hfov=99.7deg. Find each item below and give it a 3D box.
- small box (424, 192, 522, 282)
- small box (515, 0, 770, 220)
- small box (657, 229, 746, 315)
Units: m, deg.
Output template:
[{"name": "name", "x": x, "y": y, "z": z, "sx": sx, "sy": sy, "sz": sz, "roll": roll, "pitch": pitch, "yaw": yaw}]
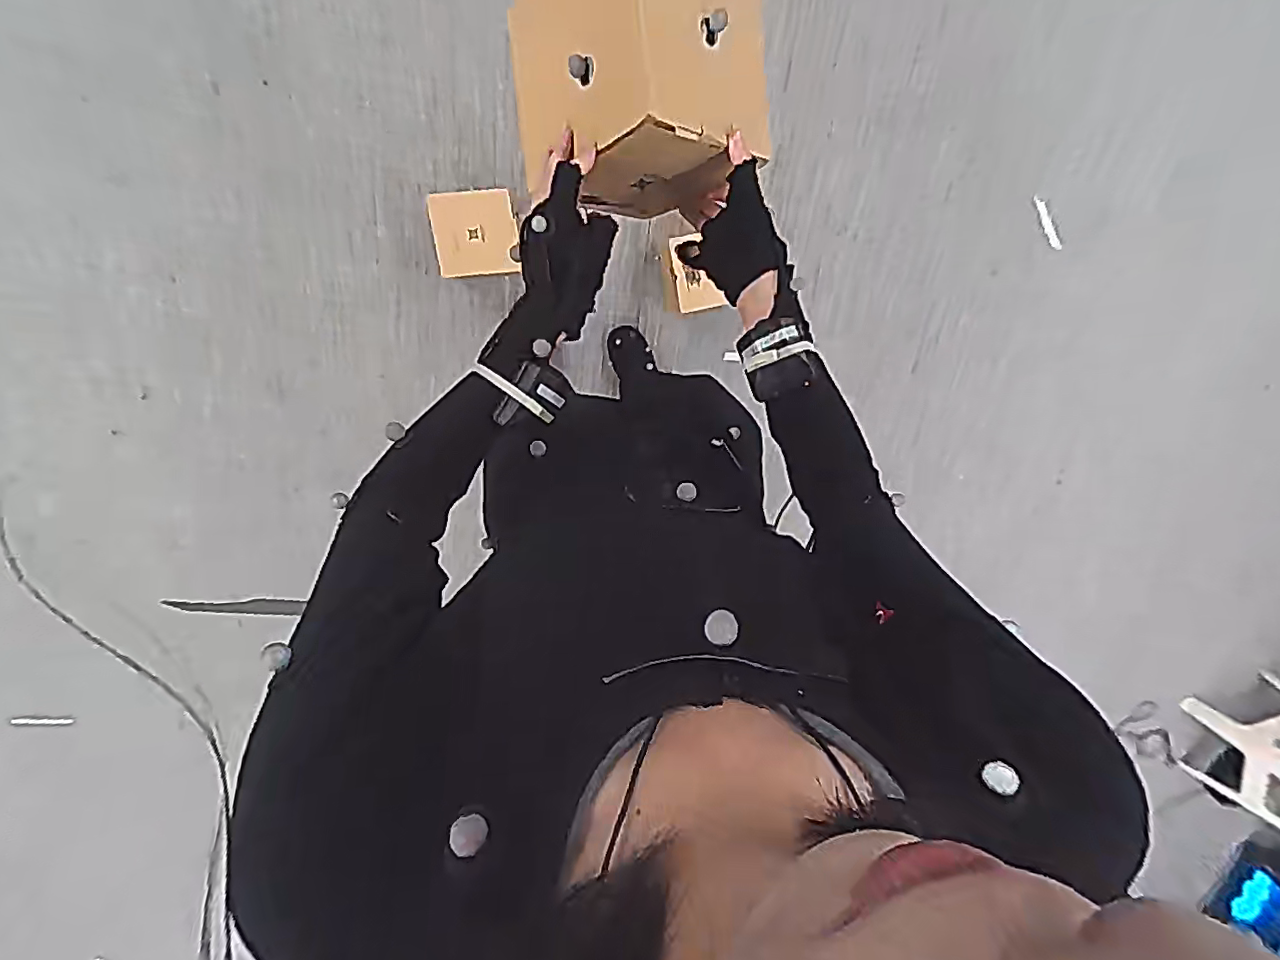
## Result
[{"name": "small box", "x": -0.367, "y": -0.546, "z": 1.228, "sx": 0.179, "sy": 0.176, "sz": 0.168, "roll": -8, "pitch": 109, "yaw": -5}, {"name": "small box", "x": -0.002, "y": -0.372, "z": 0.511, "sx": 0.168, "sy": 0.179, "sz": 0.176, "roll": -13, "pitch": 100, "yaw": -42}, {"name": "small box", "x": 0.142, "y": -0.500, "z": 1.316, "sx": 0.179, "sy": 0.176, "sz": 0.168, "roll": -13, "pitch": 110, "yaw": -4}]
